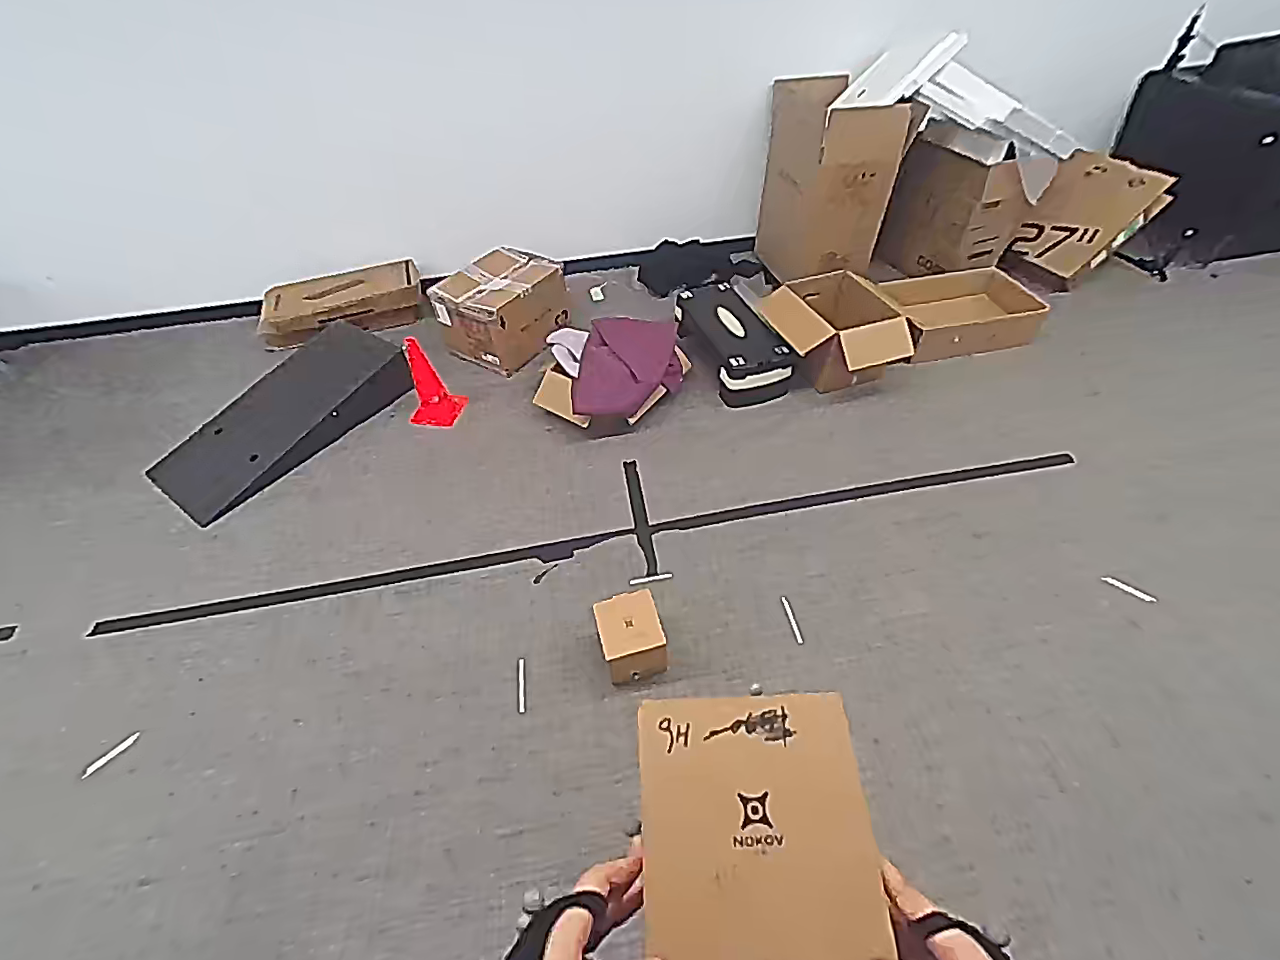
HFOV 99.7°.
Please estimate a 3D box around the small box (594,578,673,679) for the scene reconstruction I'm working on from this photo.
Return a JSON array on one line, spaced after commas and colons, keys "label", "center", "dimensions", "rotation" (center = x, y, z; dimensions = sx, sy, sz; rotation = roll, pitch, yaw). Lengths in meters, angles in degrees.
[{"label": "small box", "center": [-0.018, 0.391, 1.422], "dimensions": [0.168, 0.176, 0.179], "rotation": [-15, 50, -9]}]
